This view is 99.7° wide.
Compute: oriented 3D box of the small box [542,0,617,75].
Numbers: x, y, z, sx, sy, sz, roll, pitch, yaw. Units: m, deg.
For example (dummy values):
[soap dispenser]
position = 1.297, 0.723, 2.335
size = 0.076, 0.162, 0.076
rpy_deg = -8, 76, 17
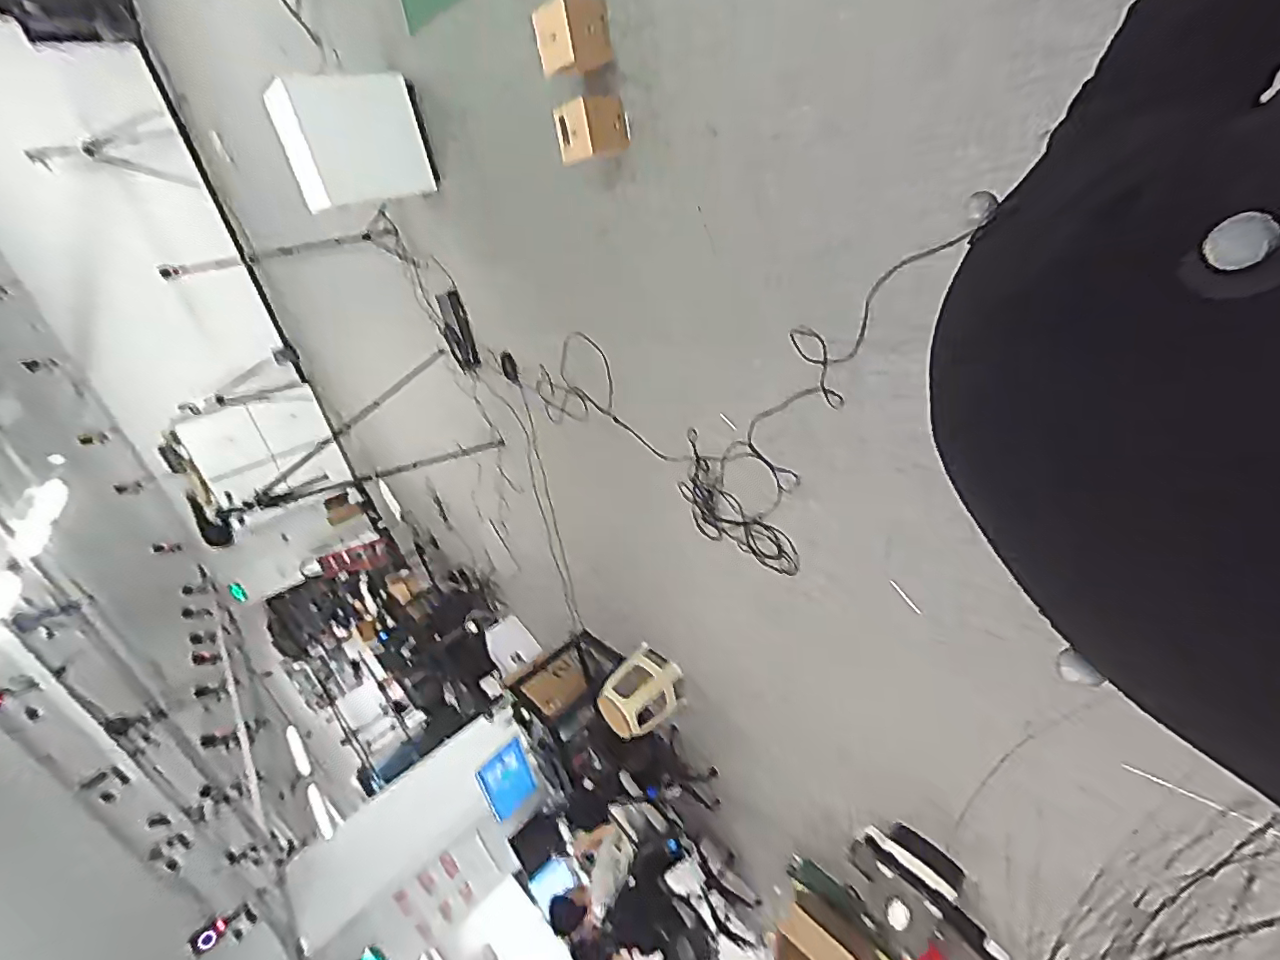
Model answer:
[small box]
position = -0.189, -1.446, 1.764
size = 0.179, 0.176, 0.168
rpy_deg = 20, 129, 46
